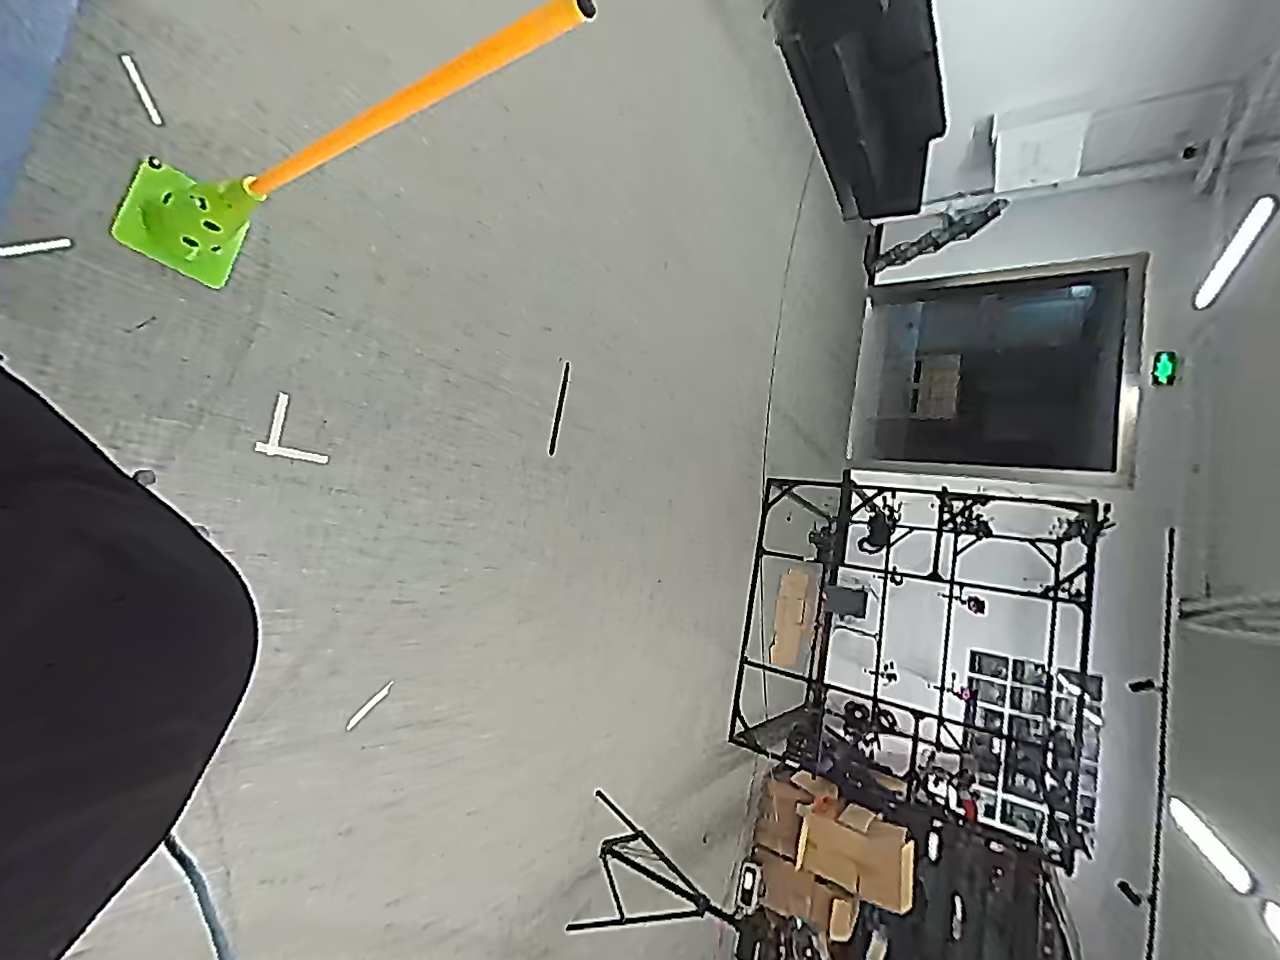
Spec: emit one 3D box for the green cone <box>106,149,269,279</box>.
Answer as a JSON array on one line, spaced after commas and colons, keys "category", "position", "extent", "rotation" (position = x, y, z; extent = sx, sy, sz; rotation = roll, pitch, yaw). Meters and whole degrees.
[{"category": "green cone", "position": [-0.854, -0.555, 1.080], "extent": [0.202, 0.368, 0.200], "rotation": [29, 70, -56]}]
